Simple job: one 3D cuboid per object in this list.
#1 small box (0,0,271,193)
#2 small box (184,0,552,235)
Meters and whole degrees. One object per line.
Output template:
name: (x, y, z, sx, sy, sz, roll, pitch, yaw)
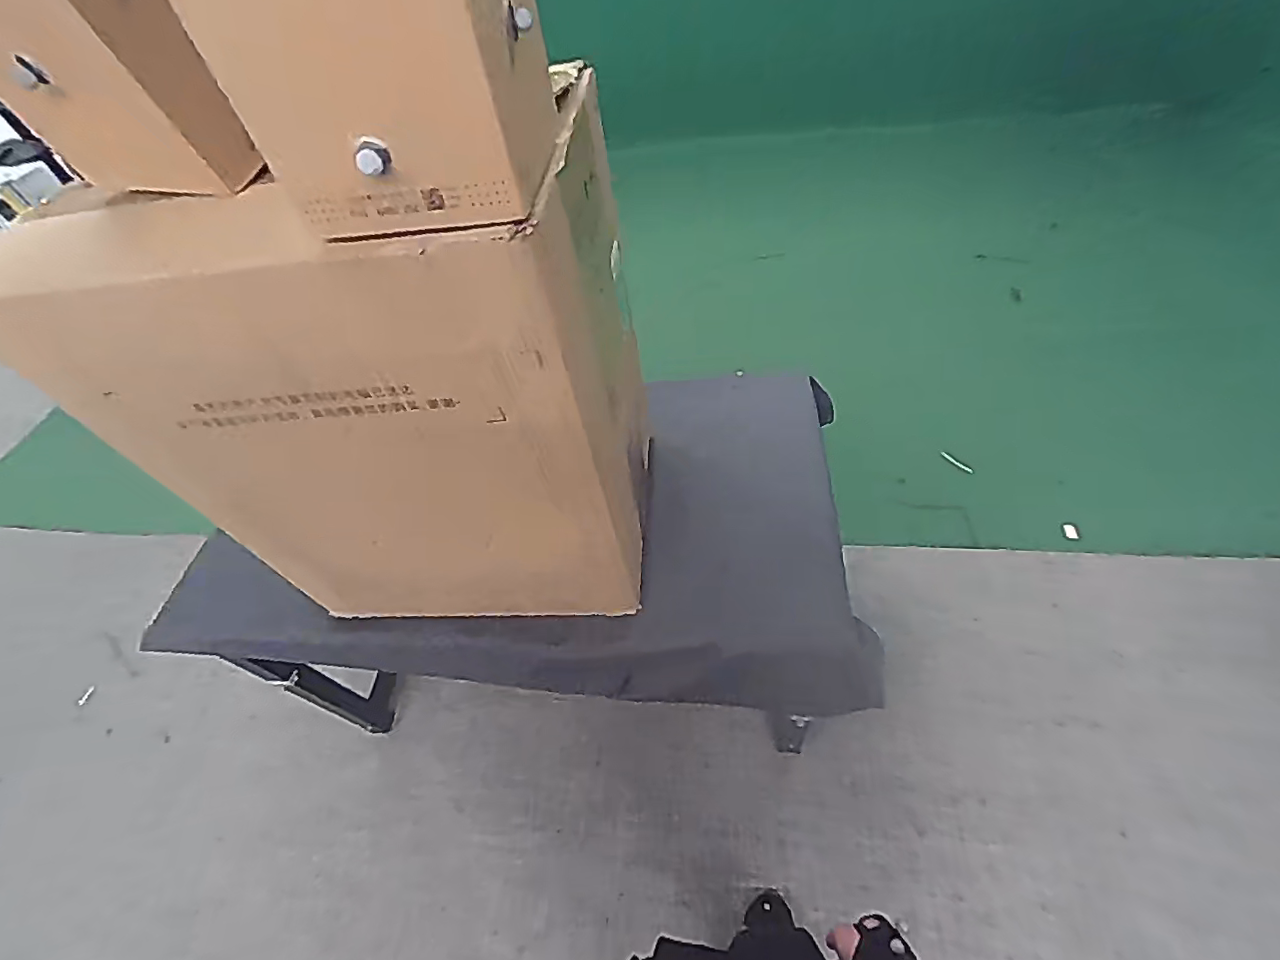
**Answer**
small box: (-0.424, -0.370, 0.455, 0.179, 0.176, 0.168, 10, 66, 14)
small box: (-0.167, -0.296, 0.377, 0.168, 0.176, 0.179, -2, 53, 7)
